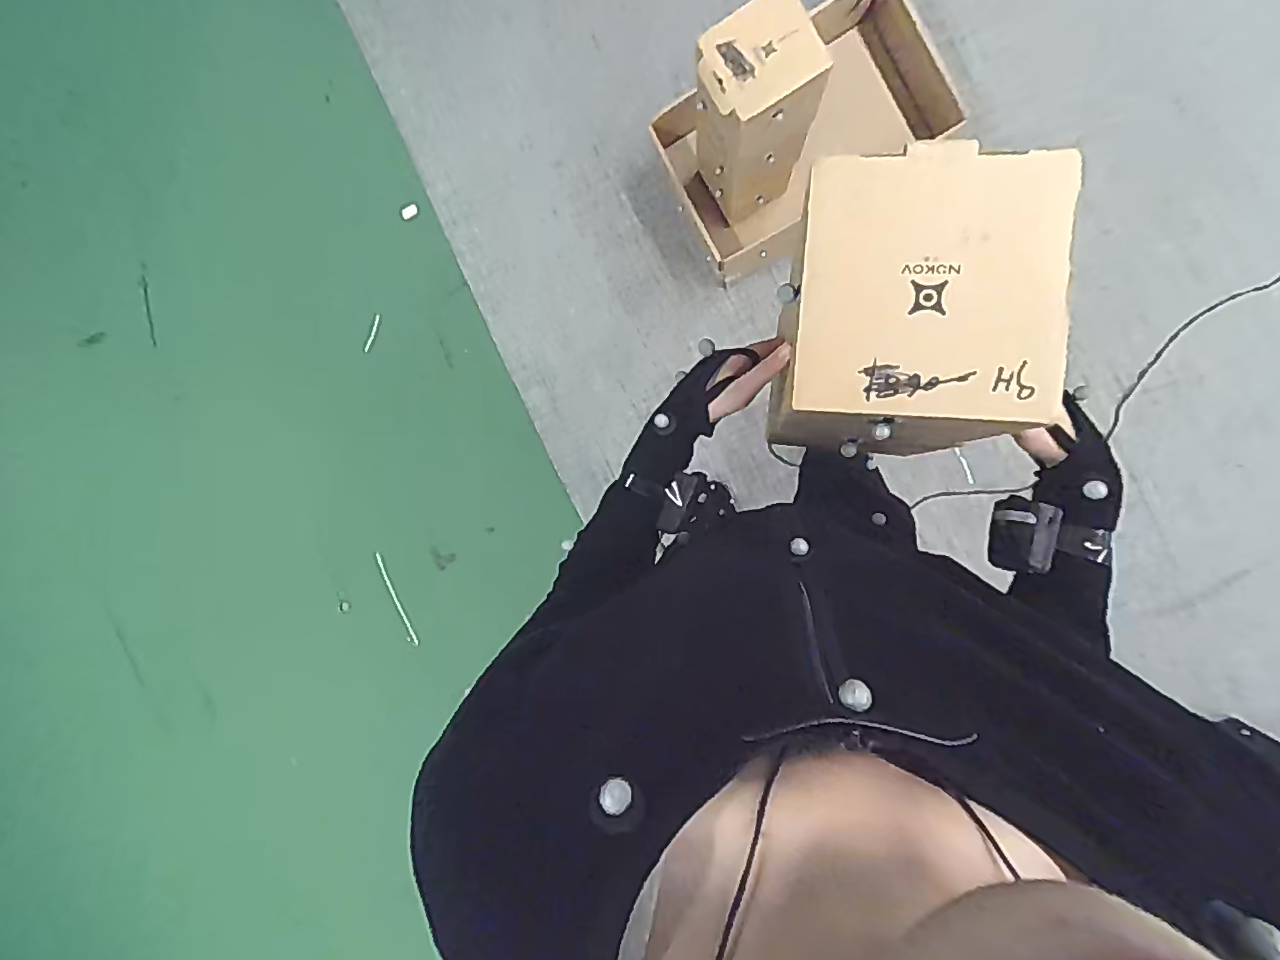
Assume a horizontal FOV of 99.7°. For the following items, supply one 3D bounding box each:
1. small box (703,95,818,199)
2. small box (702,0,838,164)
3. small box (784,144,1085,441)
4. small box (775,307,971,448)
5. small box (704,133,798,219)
[{"bbox_3d":[0.251,-0.740,1.147,0.179,0.176,0.168,-29,90,10],"label":"small box"},{"bbox_3d":[0.230,-0.725,0.986,0.179,0.176,0.168,-29,91,10],"label":"small box"},{"bbox_3d":[0.209,-0.131,0.433,0.168,0.176,0.179,5,90,12],"label":"small box"},{"bbox_3d":[0.248,-0.126,0.593,0.179,0.176,0.168,7,91,13],"label":"small box"},{"bbox_3d":[0.272,-0.763,1.307,0.168,0.176,0.179,-30,88,10],"label":"small box"}]
